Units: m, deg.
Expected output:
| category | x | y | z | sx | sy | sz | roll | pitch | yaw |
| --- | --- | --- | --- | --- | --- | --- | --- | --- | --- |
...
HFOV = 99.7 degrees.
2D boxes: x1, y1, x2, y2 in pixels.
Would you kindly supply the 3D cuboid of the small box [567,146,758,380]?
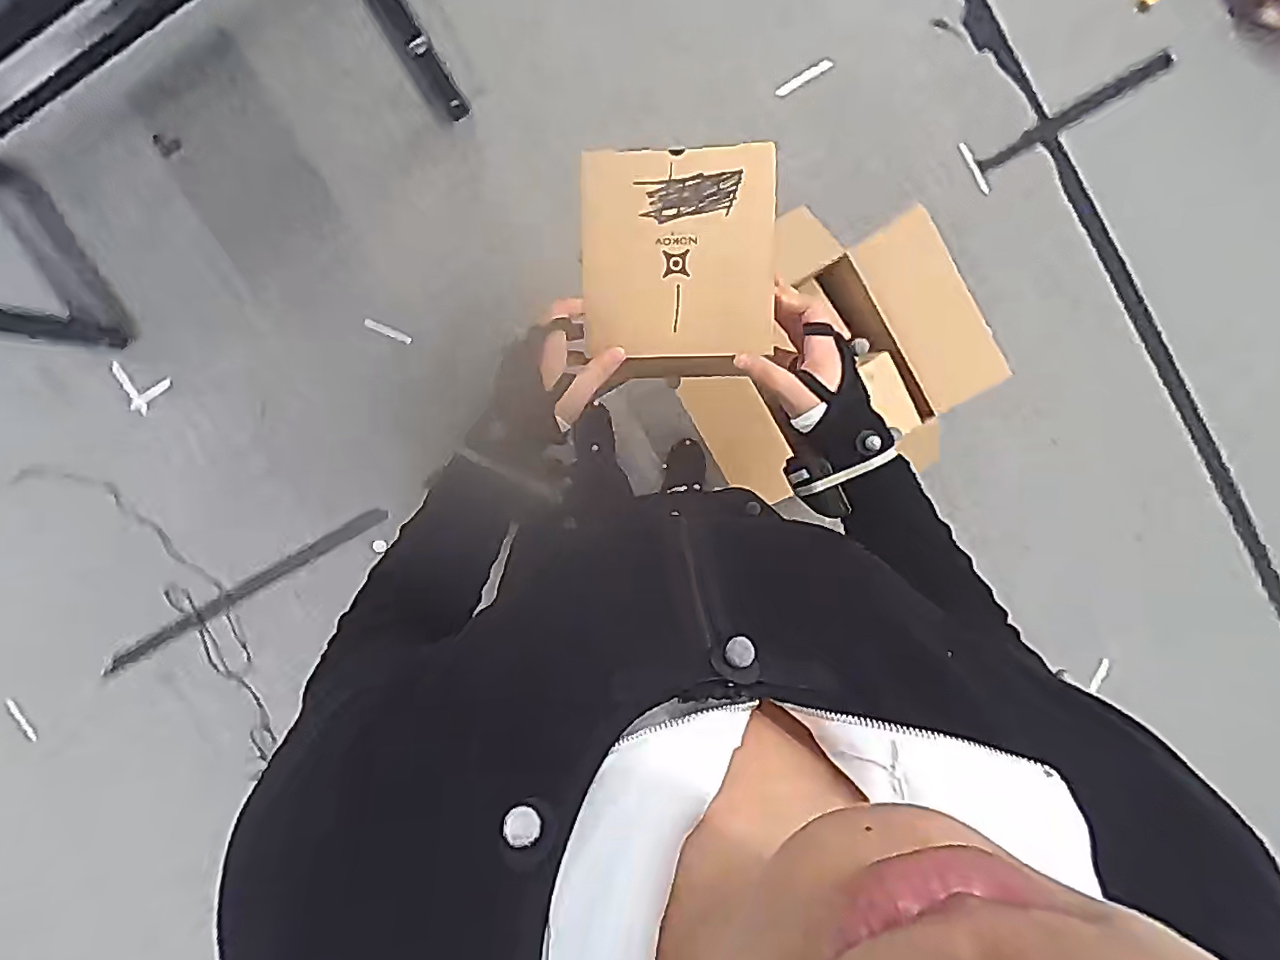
| category | x | y | z | sx | sy | sz | roll | pitch | yaw |
| --- | --- | --- | --- | --- | --- | --- | --- | --- | --- |
| small box | 0.025 | -0.200 | 0.545 | 0.168 | 0.176 | 0.179 | -2 | 96 | 5 |
